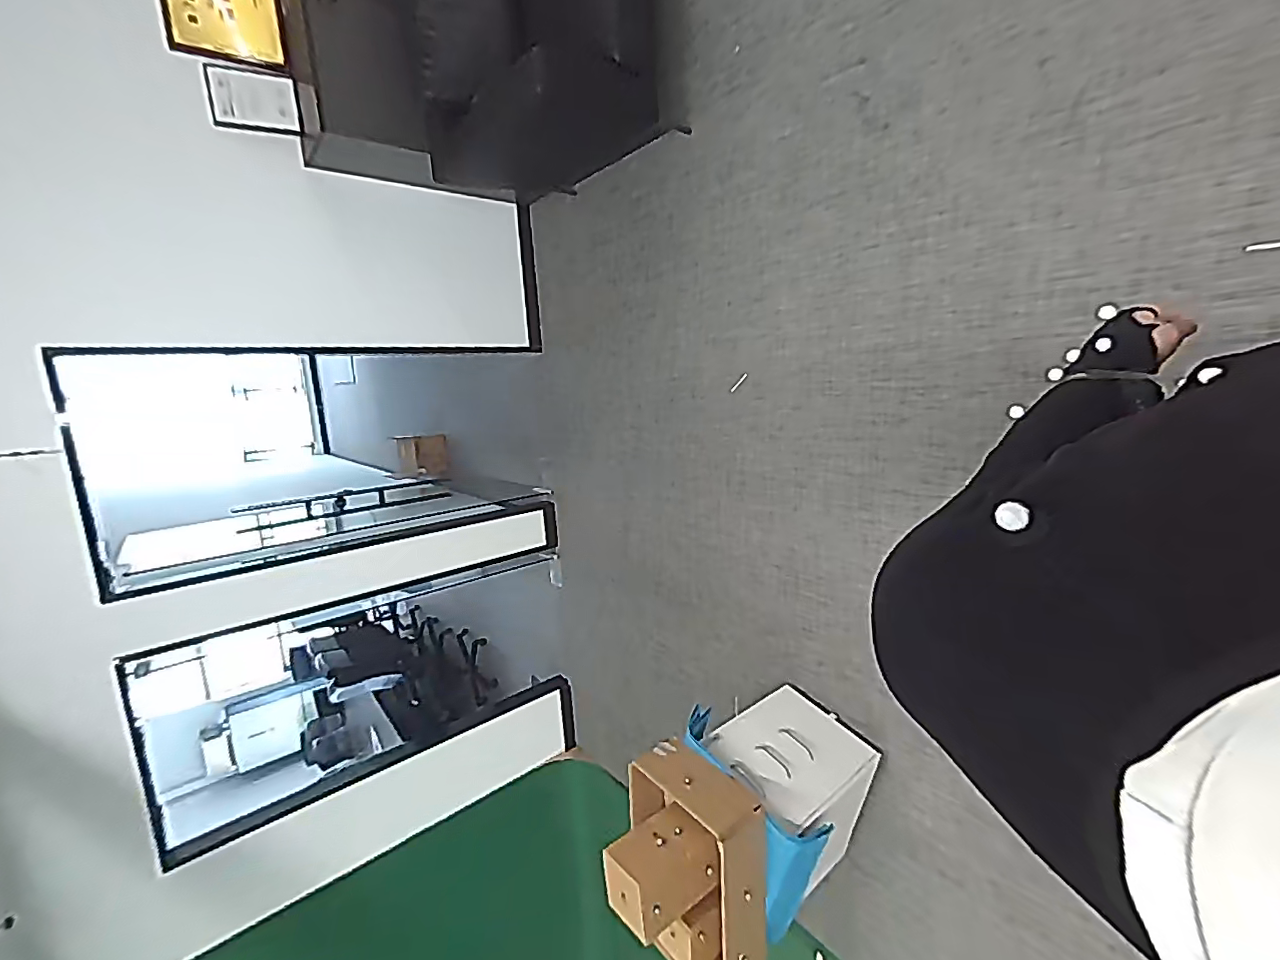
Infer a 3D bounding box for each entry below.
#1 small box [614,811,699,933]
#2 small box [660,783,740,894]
[{"bbox_3d":[0.048,1.072,1.496,0.168,0.176,0.179,5,103,53],"label":"small box"},{"bbox_3d":[0.178,1.045,1.591,0.168,0.176,0.179,7,105,53],"label":"small box"}]
